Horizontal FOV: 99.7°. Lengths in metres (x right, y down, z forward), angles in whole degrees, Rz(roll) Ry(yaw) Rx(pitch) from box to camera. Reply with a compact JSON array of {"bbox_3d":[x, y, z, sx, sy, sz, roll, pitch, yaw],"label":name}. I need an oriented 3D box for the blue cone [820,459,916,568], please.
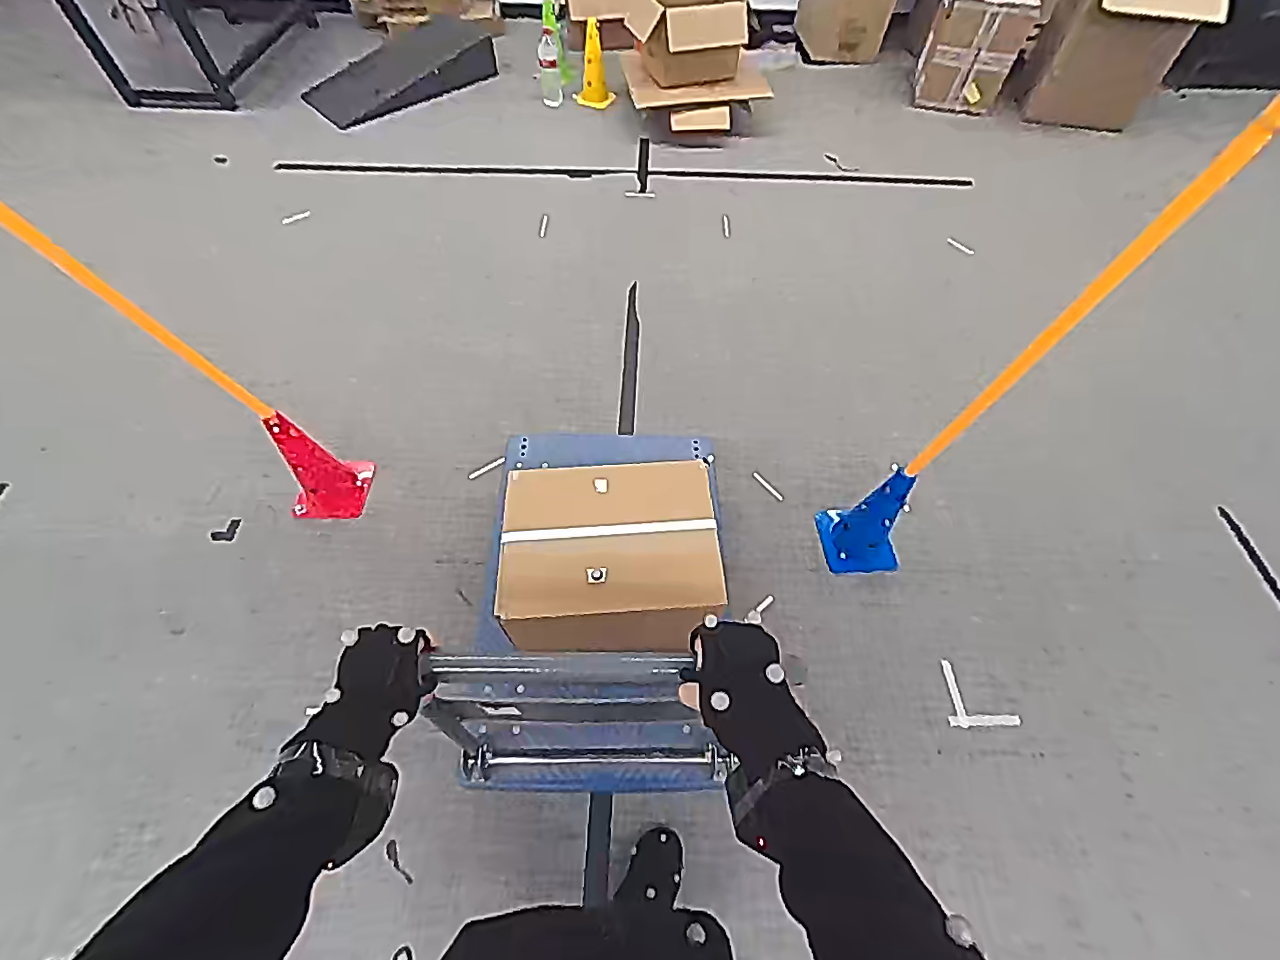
[{"bbox_3d":[0.632,0.076,1.424,0.193,0.380,0.192,-1,56,-3],"label":"blue cone"}]
